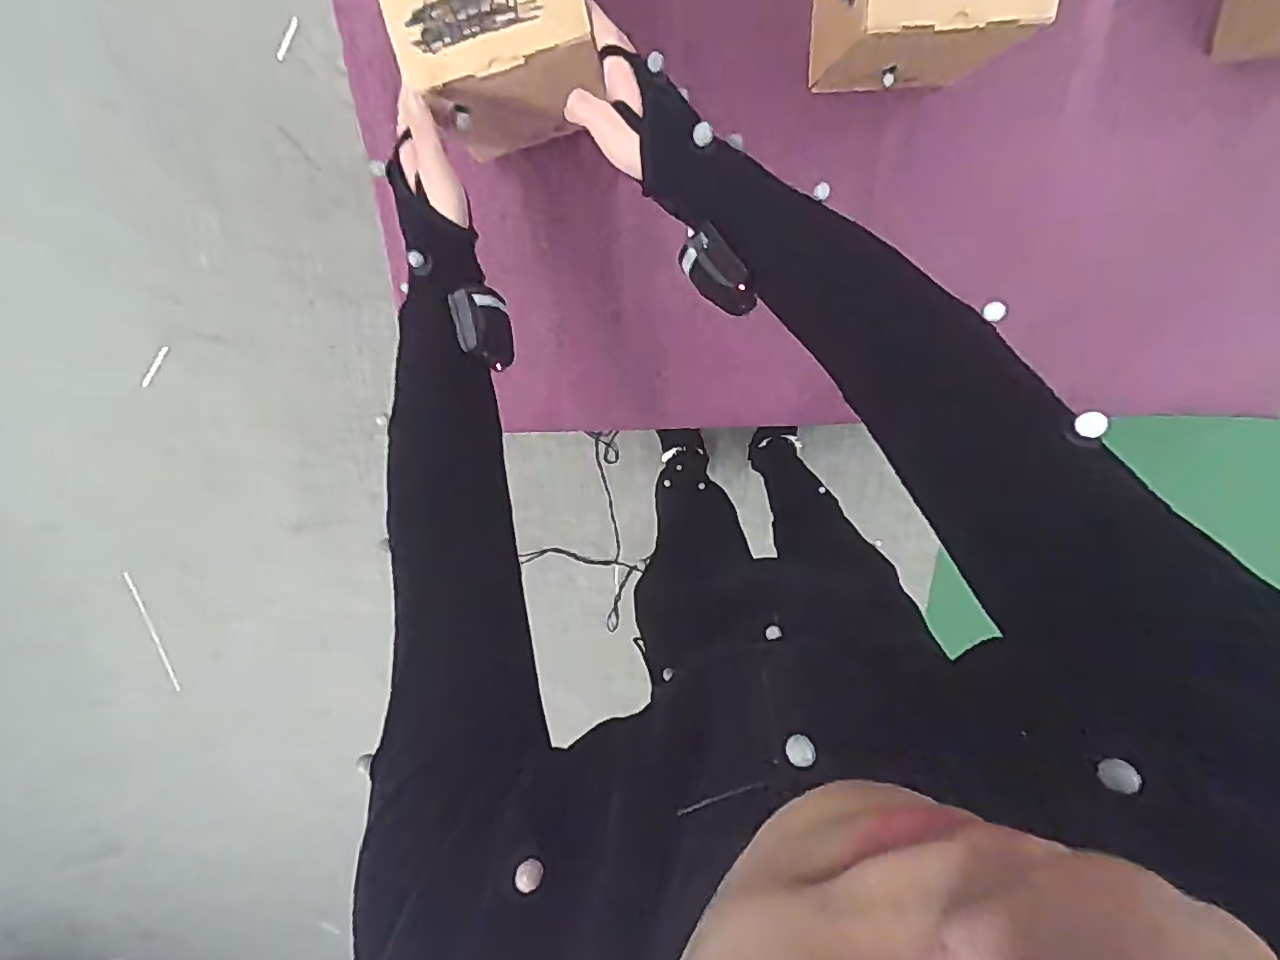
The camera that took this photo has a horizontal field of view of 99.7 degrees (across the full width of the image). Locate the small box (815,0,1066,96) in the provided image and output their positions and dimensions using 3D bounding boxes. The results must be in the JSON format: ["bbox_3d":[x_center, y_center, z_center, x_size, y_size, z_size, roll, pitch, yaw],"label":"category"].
[{"bbox_3d":[0.274,-0.493,0.509,0.168,0.176,0.179,-3,112,0],"label":"small box"}]
